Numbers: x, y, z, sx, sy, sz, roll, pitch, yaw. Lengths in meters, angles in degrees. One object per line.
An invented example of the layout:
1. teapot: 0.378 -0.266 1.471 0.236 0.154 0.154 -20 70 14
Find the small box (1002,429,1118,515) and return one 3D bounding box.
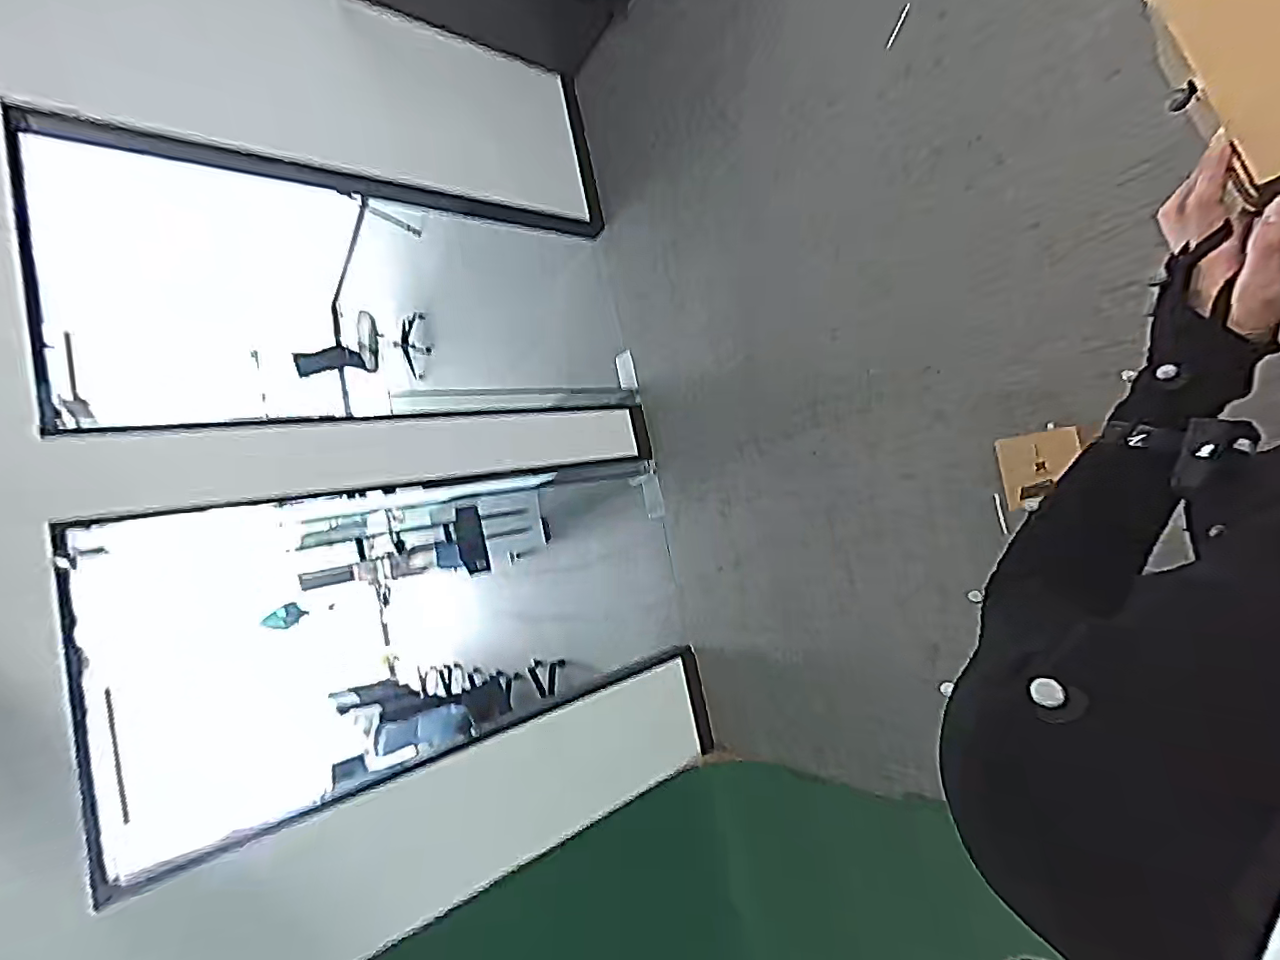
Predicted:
1. small box: 1.012 -0.019 1.299 0.168 0.176 0.179 -15 83 53
